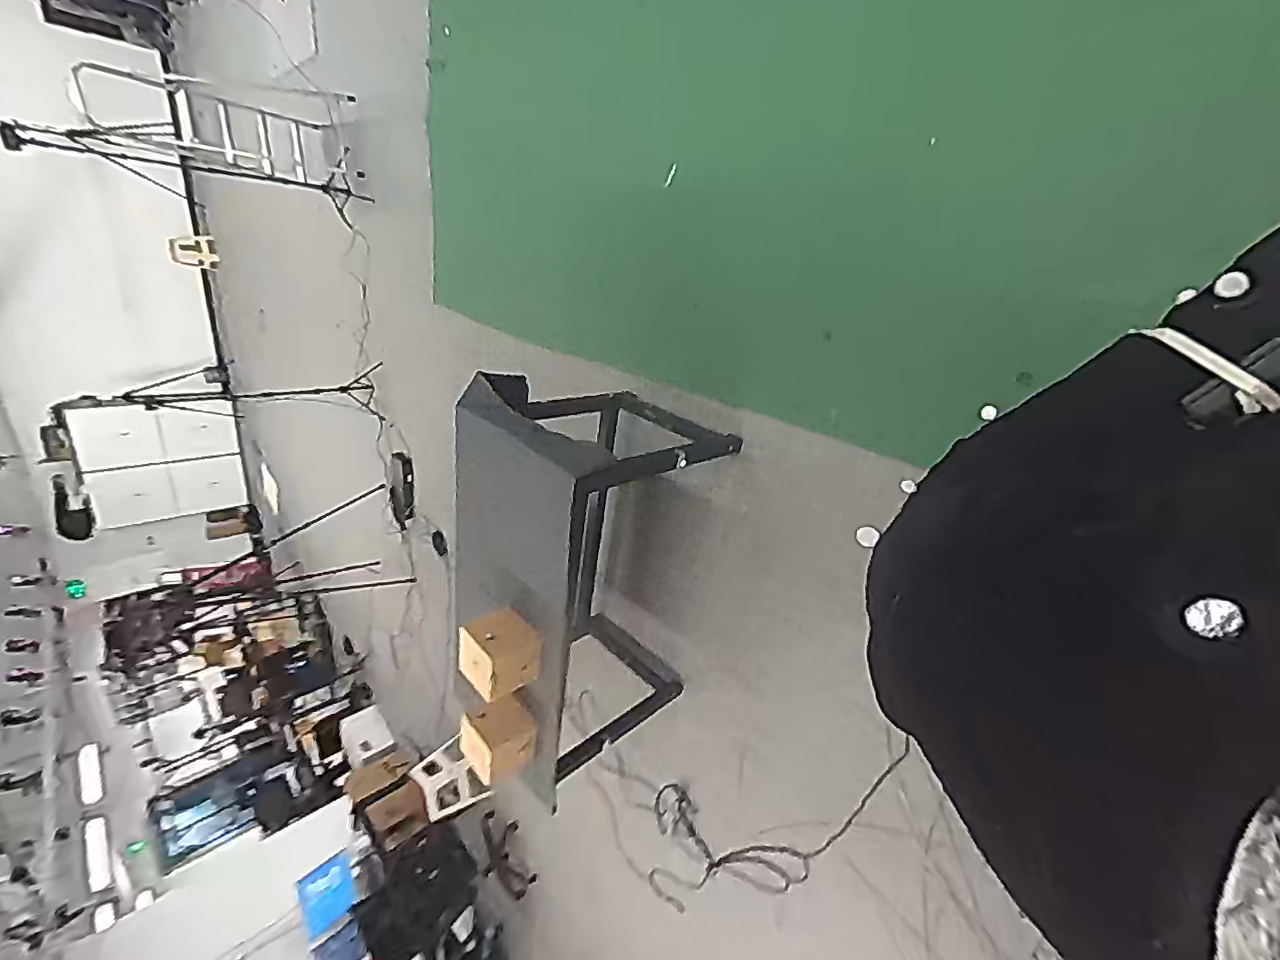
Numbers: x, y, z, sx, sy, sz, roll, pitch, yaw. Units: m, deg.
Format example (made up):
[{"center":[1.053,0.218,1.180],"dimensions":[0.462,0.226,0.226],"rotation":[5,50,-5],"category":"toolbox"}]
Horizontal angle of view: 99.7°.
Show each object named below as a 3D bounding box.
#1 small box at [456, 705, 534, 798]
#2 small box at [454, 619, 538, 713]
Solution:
[{"center":[-0.458,0.840,1.699],"dimensions":[0.179,0.176,0.168],"rotation":[29,121,36],"category":"small box"},{"center":[-0.423,0.532,1.580],"dimensions":[0.179,0.176,0.168],"rotation":[28,120,36],"category":"small box"}]
